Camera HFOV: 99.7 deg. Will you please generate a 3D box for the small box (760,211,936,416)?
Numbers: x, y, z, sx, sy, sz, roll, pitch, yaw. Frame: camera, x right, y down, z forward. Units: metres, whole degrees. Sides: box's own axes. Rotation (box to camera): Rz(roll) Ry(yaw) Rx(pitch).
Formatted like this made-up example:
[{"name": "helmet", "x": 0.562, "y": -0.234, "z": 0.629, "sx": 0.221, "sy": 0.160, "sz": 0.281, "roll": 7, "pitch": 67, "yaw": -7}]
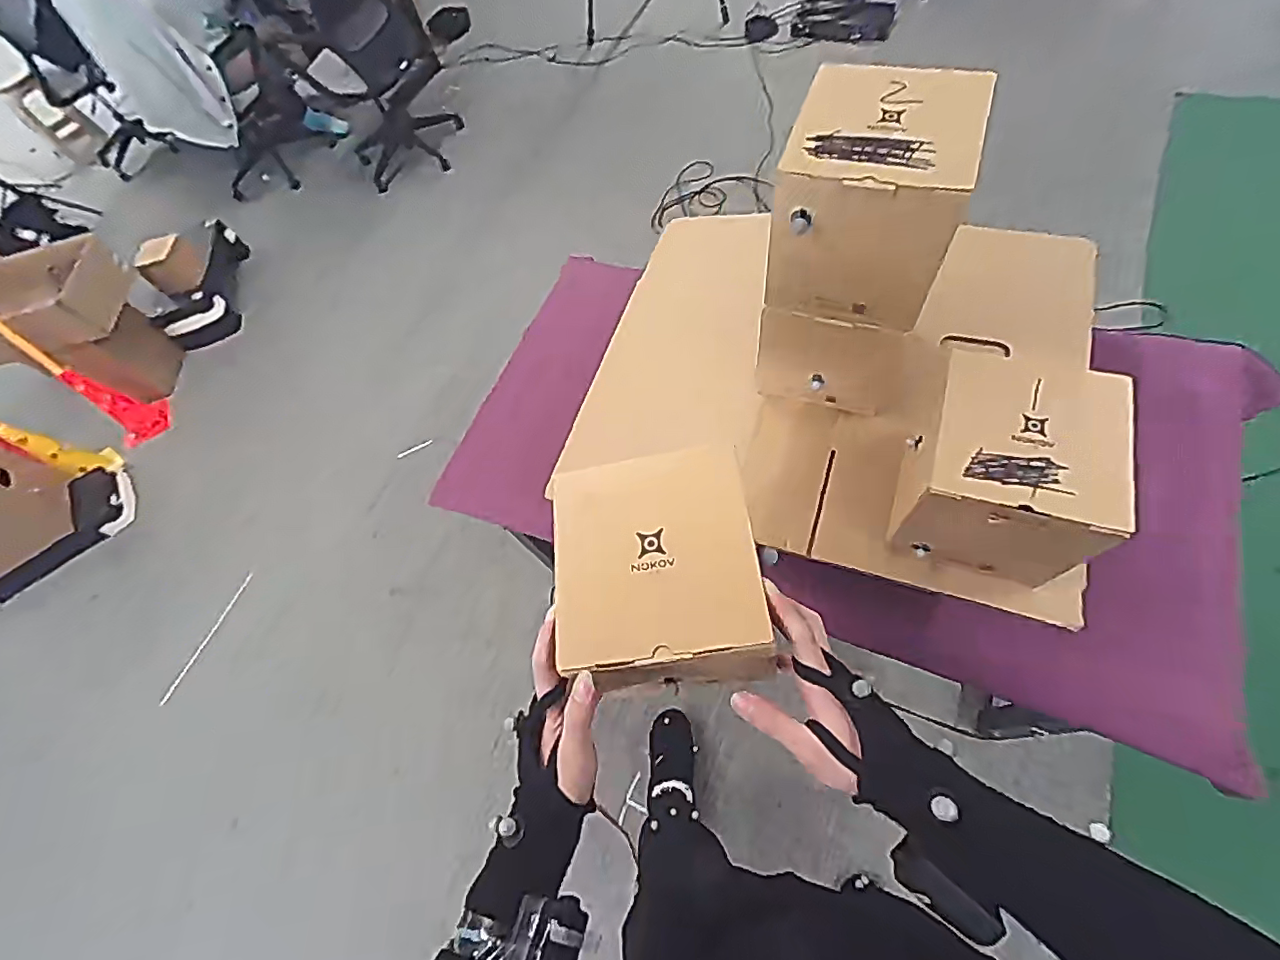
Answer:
[{"name": "small box", "x": 0.262, "y": -0.215, "z": 0.712, "sx": 0.168, "sy": 0.176, "sz": 0.179, "roll": 17, "pitch": 68, "yaw": 16}]
